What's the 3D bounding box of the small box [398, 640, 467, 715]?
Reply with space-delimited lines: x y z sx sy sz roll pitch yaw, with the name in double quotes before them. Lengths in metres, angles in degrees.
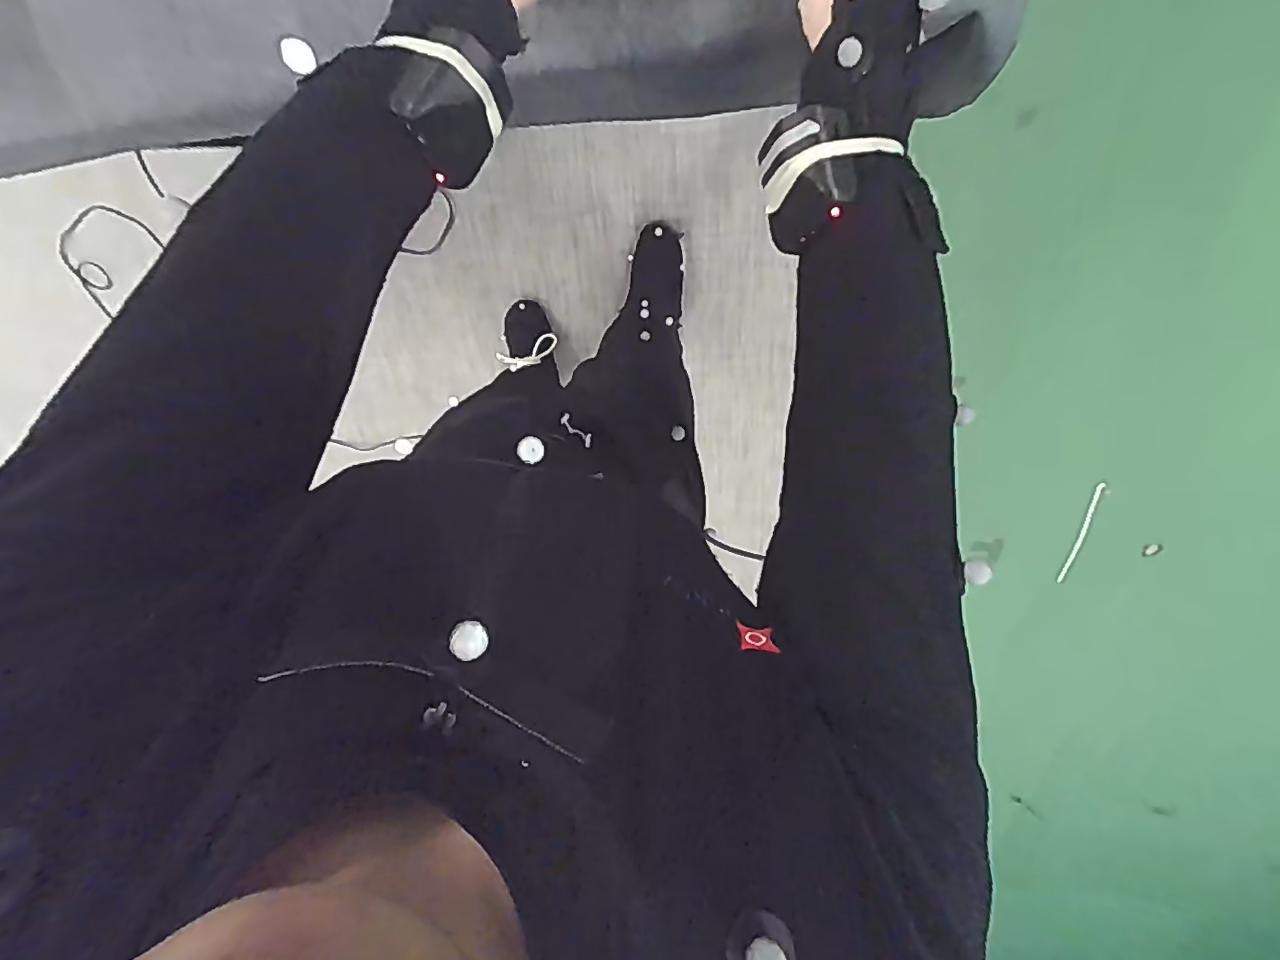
"small box" -0.736 0.694 1.920 0.179 0.176 0.168 14 123 -1
